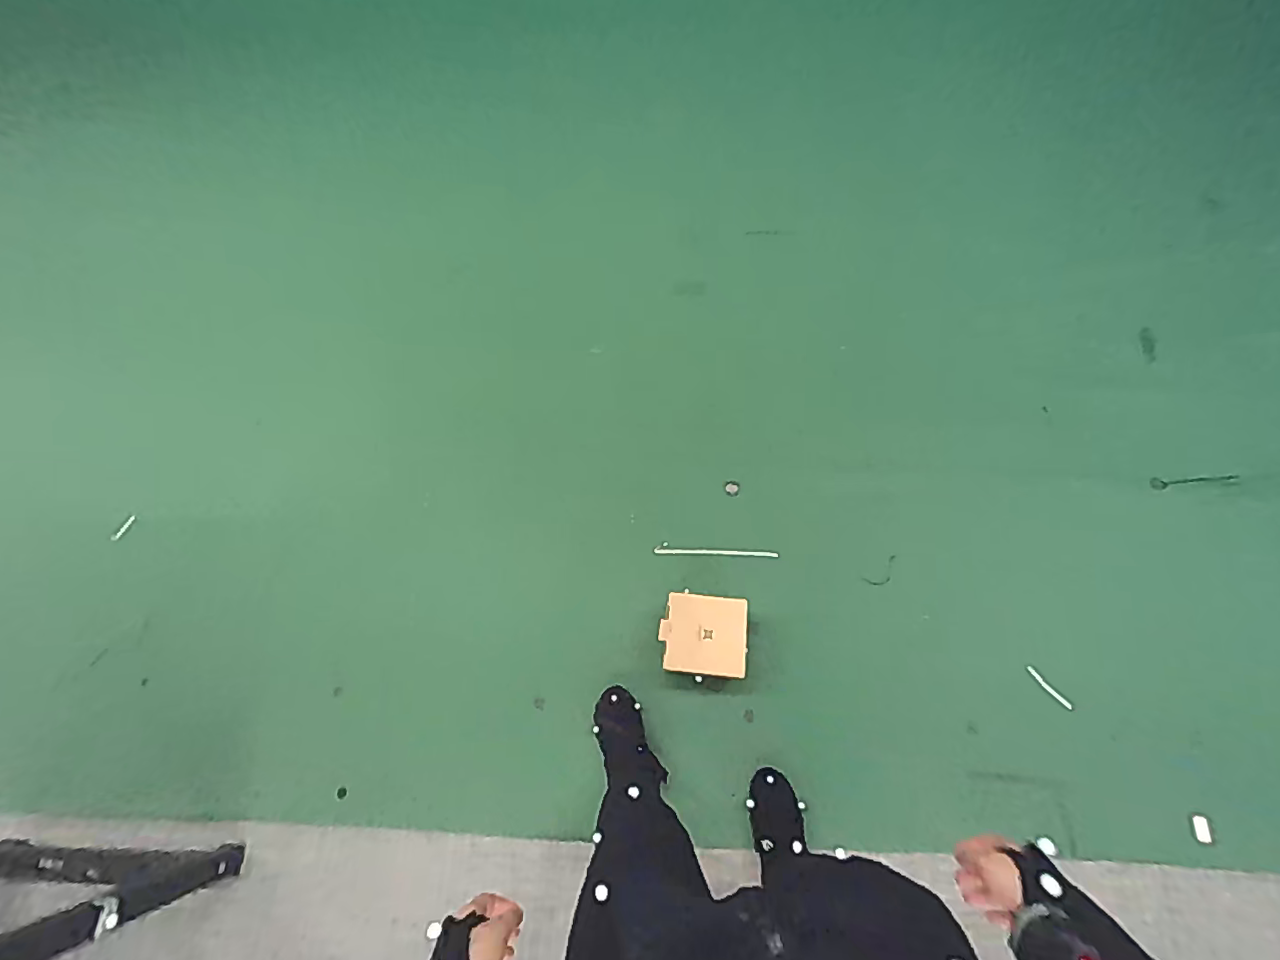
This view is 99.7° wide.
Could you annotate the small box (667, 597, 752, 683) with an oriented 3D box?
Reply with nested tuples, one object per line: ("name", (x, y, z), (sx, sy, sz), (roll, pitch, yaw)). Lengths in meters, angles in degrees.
("small box", (0.155, 0.368, 1.239), (0.179, 0.176, 0.168), (4, 71, 5))
